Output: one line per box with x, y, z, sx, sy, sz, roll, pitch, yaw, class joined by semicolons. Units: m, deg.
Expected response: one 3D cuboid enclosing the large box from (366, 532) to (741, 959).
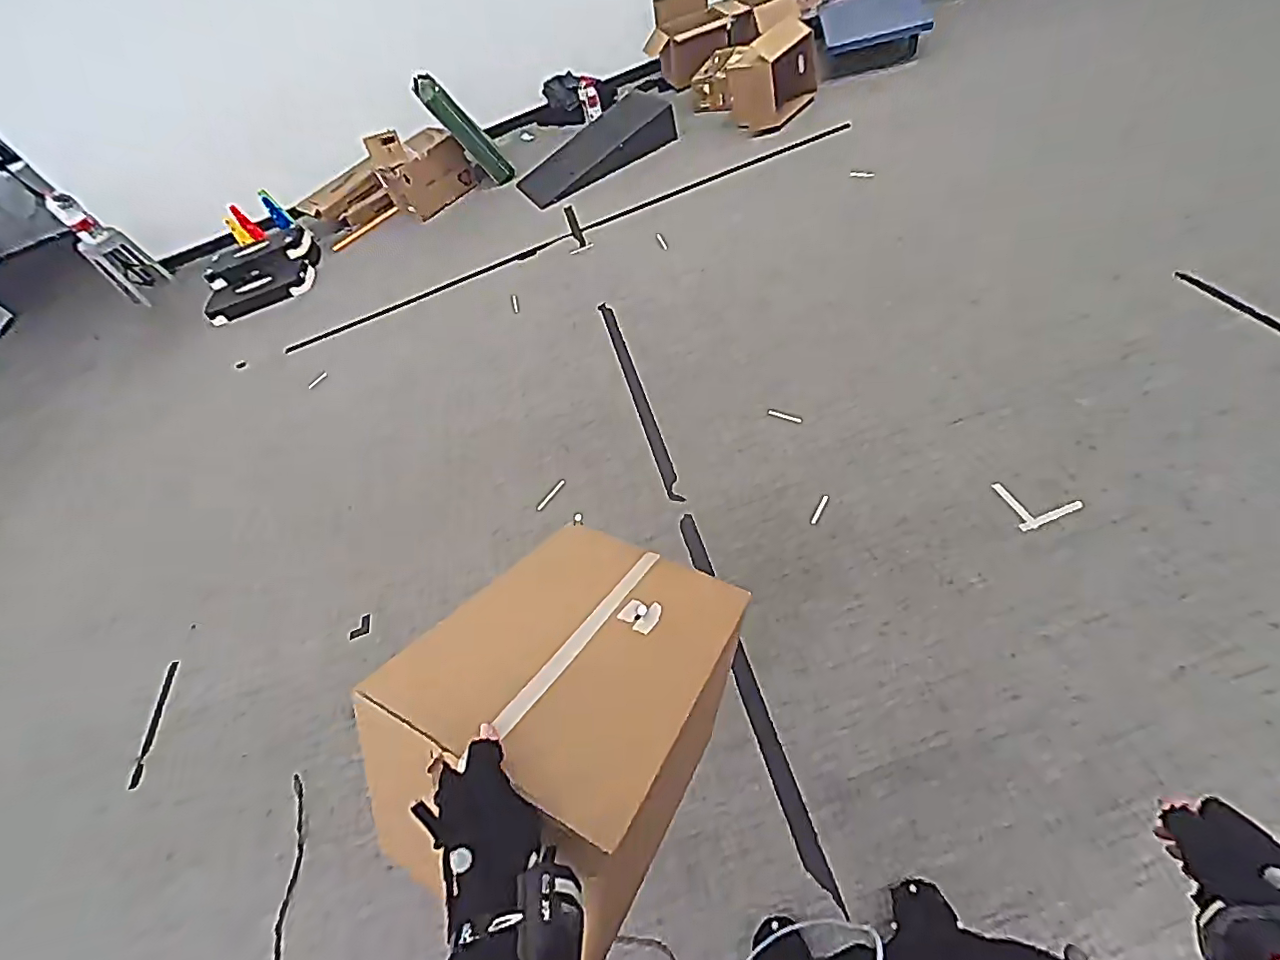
-0.090;0.334;0.743;0.320;0.320;0.408;20;29;20;large box
